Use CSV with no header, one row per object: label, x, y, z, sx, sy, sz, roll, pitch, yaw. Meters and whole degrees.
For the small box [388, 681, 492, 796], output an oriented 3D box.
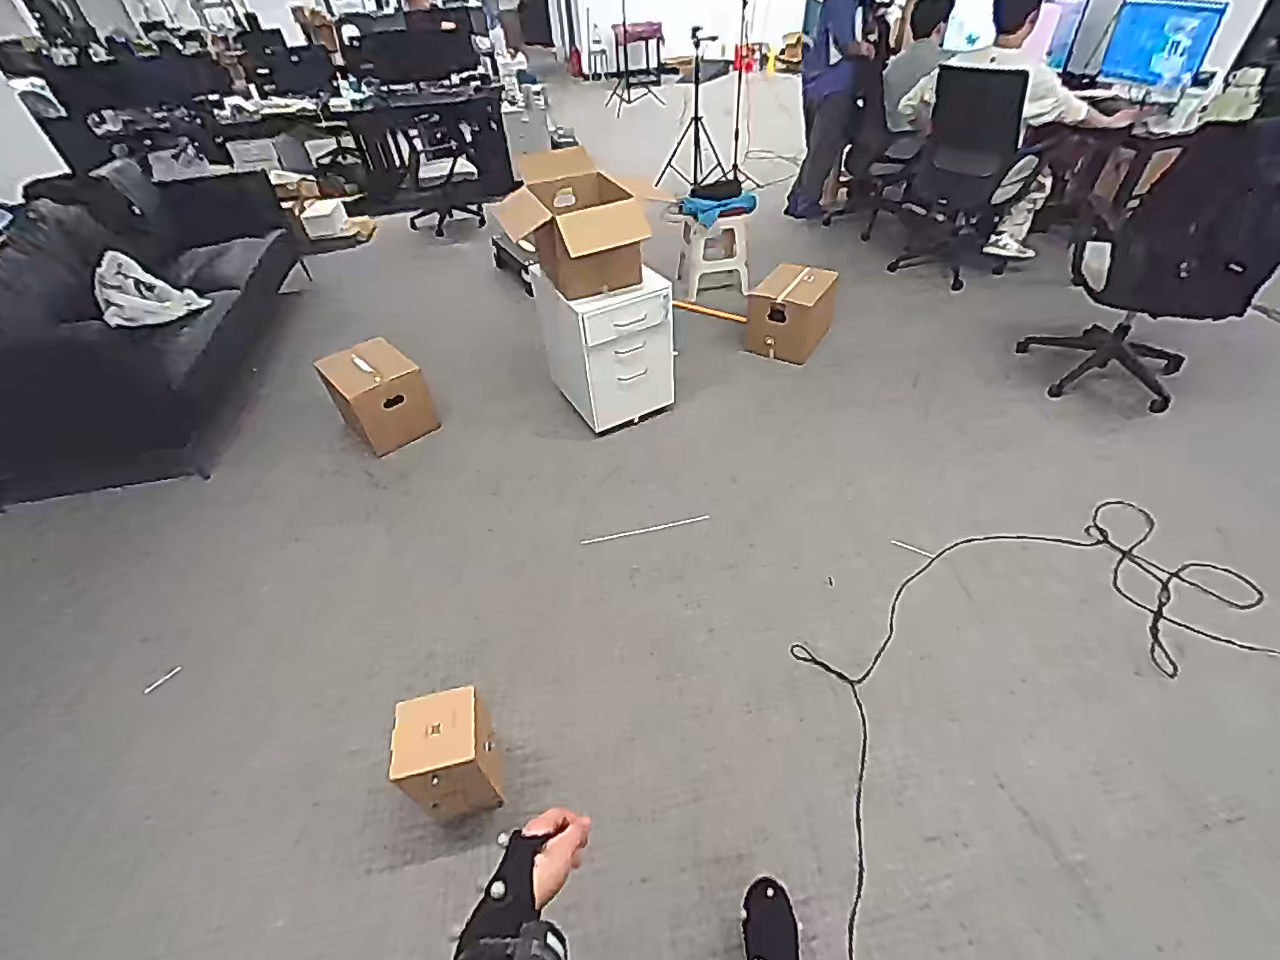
small box,-0.443,0.587,1.221,0.179,0.176,0.168,-11,45,-8
